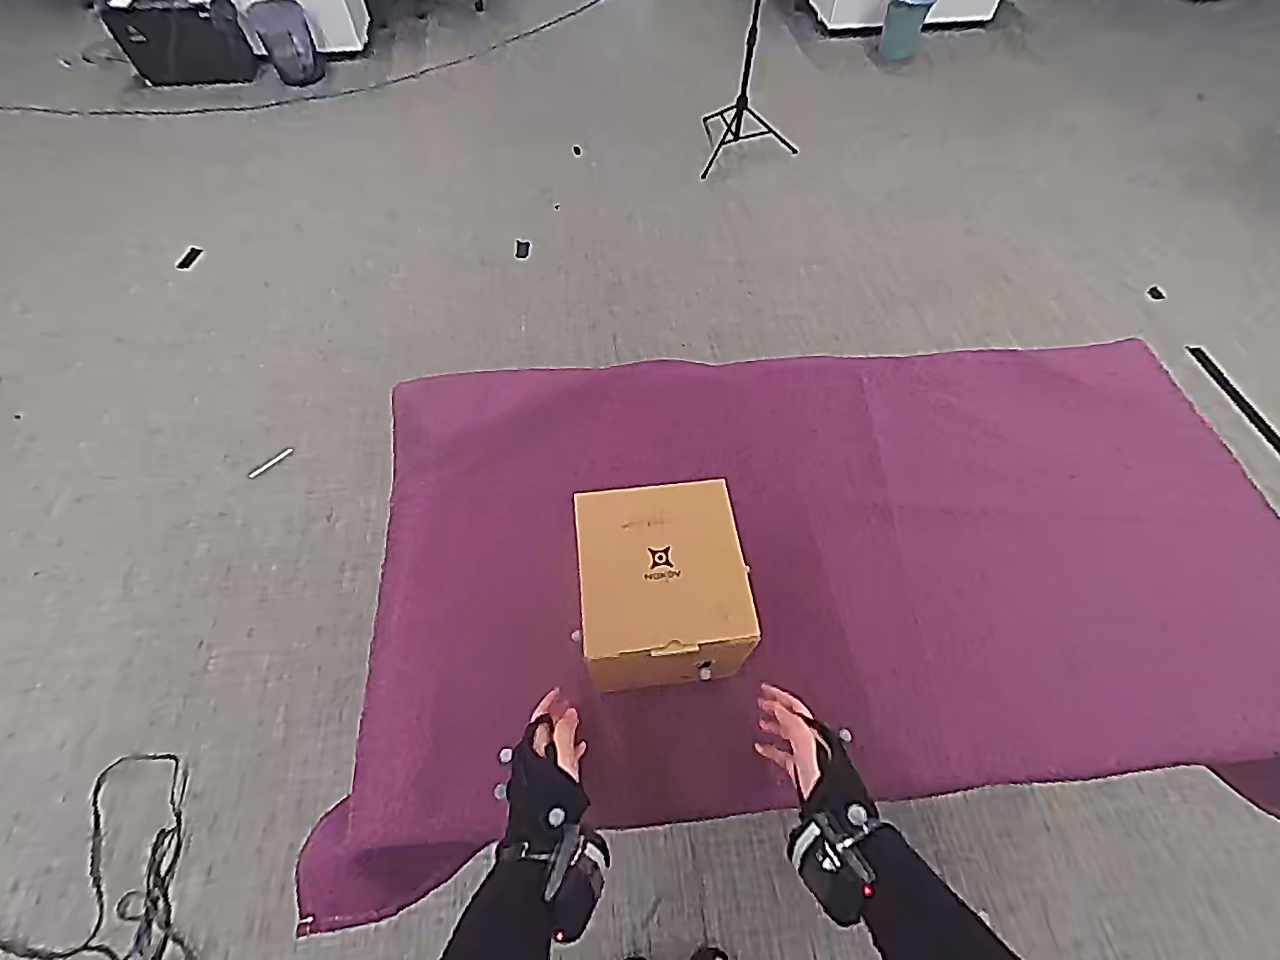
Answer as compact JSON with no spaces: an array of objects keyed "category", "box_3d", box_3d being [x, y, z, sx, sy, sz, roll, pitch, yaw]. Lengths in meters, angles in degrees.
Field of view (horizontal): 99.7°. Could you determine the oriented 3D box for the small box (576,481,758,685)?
[{"category":"small box","box_3d":[0.021,0.123,0.604,0.168,0.176,0.179,-5,59,-4]}]
